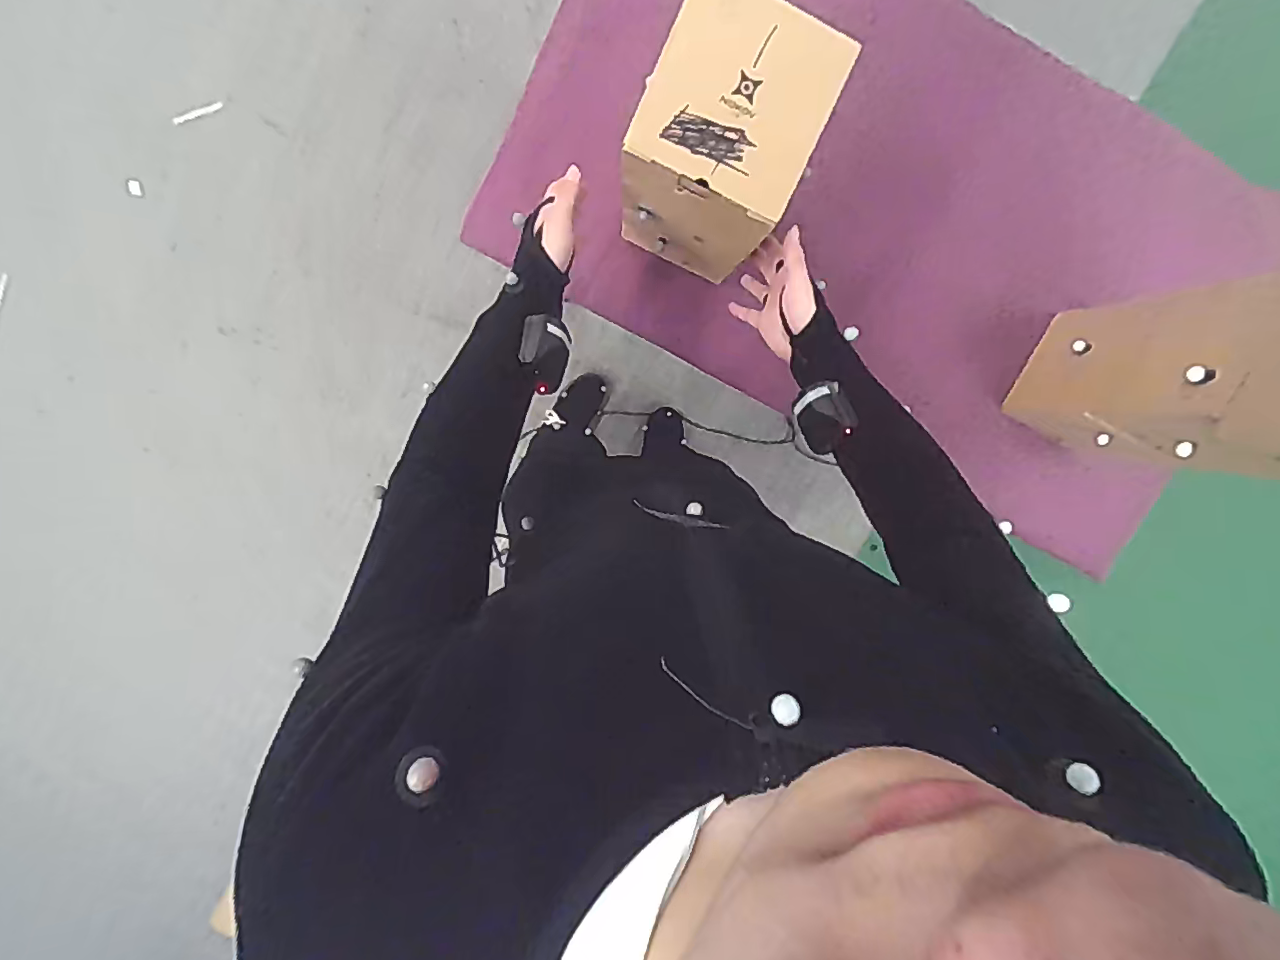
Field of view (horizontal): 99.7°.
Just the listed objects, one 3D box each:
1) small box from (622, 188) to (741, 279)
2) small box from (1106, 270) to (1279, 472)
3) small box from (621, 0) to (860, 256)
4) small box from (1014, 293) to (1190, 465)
[{"bbox_3d":[0.087,-0.397,0.734,0.168,0.176,0.179,24,99,-5],"label":"small box"},{"bbox_3d":[0.707,-0.117,0.628,0.168,0.176,0.179,27,97,-6],"label":"small box"},{"bbox_3d":[0.090,-0.366,0.572,0.168,0.176,0.179,24,97,-6],"label":"small box"},{"bbox_3d":[0.703,-0.143,0.791,0.168,0.176,0.179,26,97,-5],"label":"small box"}]
